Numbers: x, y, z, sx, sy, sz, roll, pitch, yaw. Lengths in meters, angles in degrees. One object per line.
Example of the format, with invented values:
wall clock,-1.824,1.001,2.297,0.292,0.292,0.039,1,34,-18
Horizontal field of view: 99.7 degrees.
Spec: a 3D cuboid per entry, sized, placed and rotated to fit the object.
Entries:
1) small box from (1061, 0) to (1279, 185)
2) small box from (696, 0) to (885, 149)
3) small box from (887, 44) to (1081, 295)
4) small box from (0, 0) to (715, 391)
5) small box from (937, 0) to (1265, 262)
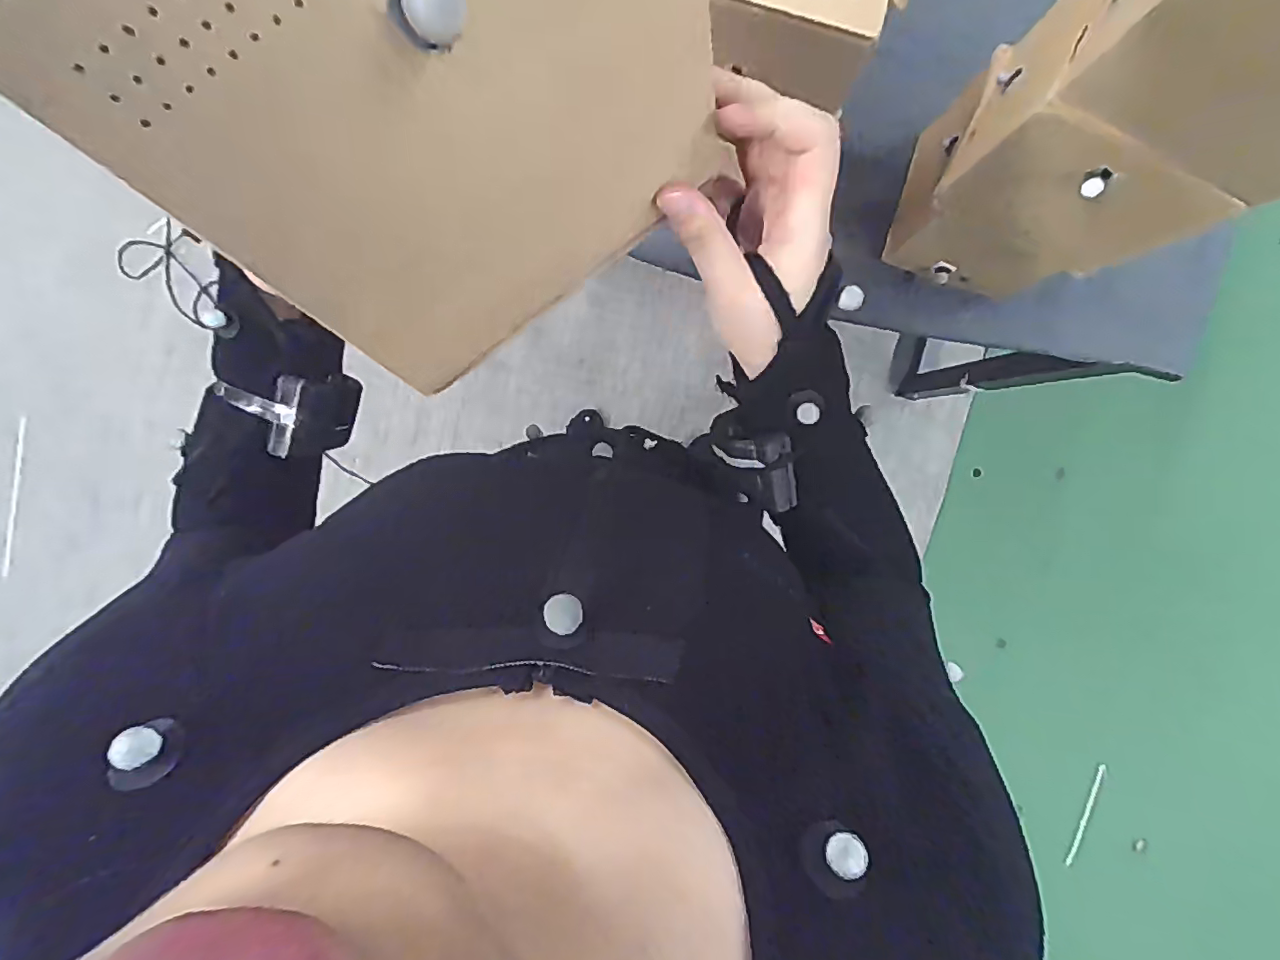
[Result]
small box,0.407,-0.304,0.304,0.179,0.176,0.168,28,94,1
small box,0.109,-0.423,0.464,0.179,0.176,0.168,16,94,0
small box,0.417,-0.341,0.629,0.168,0.176,0.179,16,95,1
small box,-0.095,-0.173,0.202,0.179,0.176,0.168,-38,71,0
small box,0.409,-0.315,0.468,0.179,0.176,0.168,27,94,1
